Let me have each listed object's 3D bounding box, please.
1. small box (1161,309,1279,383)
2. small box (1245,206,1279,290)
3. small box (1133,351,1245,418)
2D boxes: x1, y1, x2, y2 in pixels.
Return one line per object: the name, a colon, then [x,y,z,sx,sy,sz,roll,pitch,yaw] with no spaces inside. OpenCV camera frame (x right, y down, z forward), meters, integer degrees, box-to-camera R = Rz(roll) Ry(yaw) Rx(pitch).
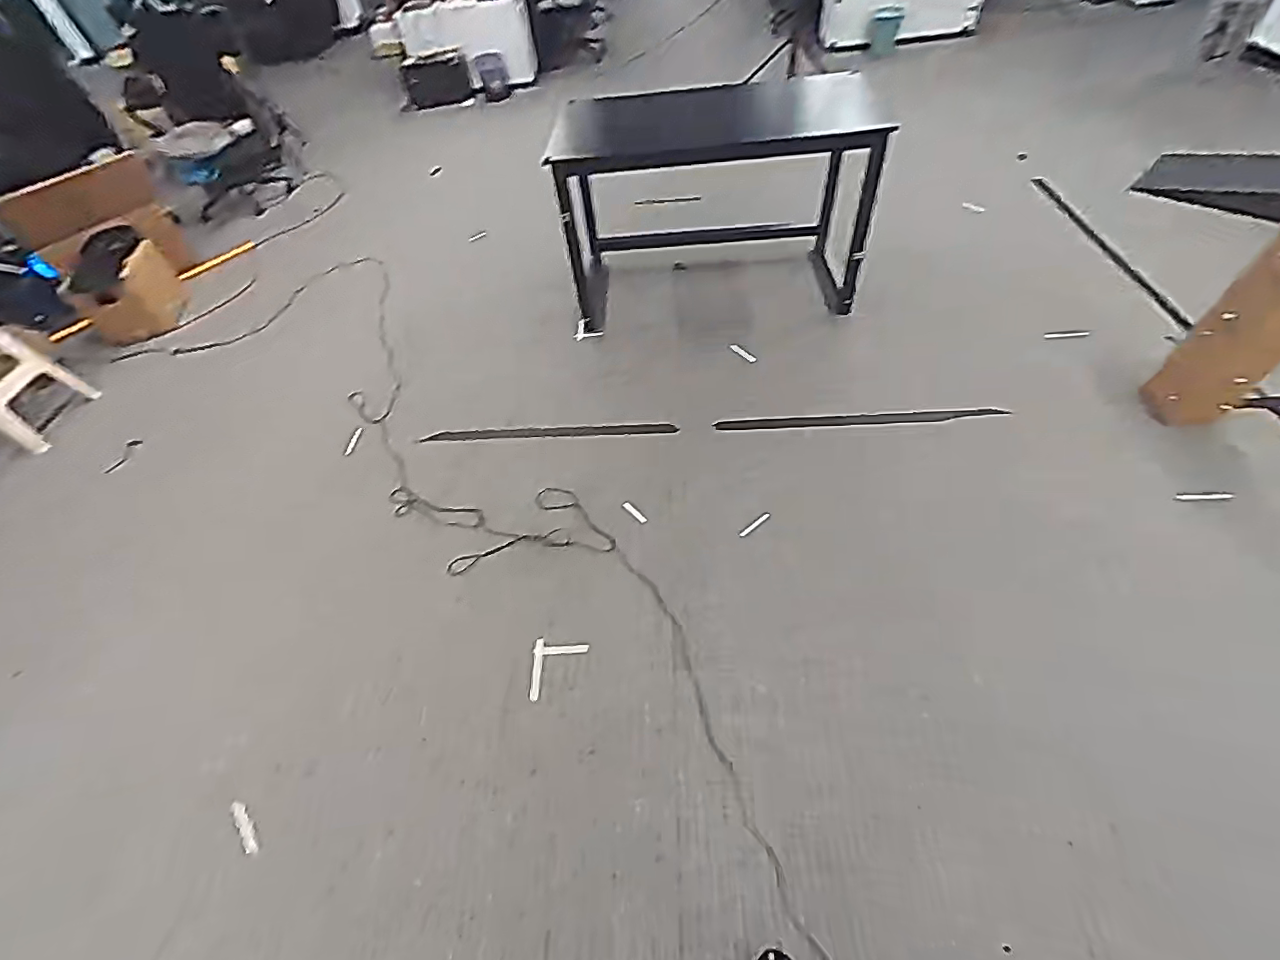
small box: [1.812,-0.421,1.688,0.179,0.176,0.168,-4,51,3]
small box: [1.778,-0.617,1.425,0.179,0.176,0.168,-1,52,6]
small box: [1.832,-0.321,1.816,0.168,0.176,0.179,-3,50,5]
